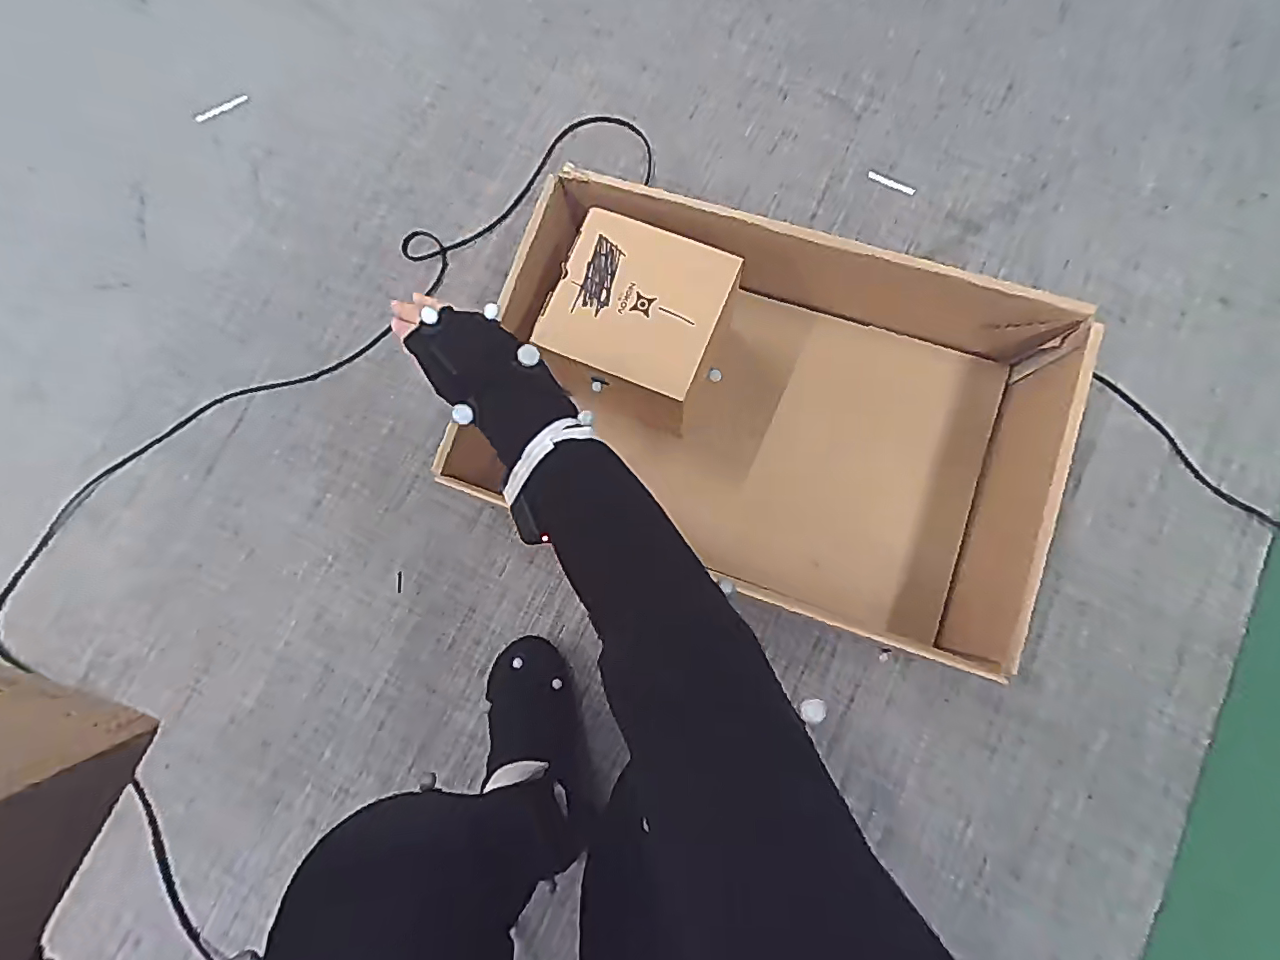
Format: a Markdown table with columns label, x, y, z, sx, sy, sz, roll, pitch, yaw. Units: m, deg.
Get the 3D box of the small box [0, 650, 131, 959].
| label | x | y | z | sx | sy | sz | roll | pitch | yaw |
| --- | --- | --- | --- | --- | --- | --- | --- | --- | --- |
| small box | -0.331 | 0.148 | 0.167 | 0.168 | 0.176 | 0.179 | 26 | 77 | -9 |
